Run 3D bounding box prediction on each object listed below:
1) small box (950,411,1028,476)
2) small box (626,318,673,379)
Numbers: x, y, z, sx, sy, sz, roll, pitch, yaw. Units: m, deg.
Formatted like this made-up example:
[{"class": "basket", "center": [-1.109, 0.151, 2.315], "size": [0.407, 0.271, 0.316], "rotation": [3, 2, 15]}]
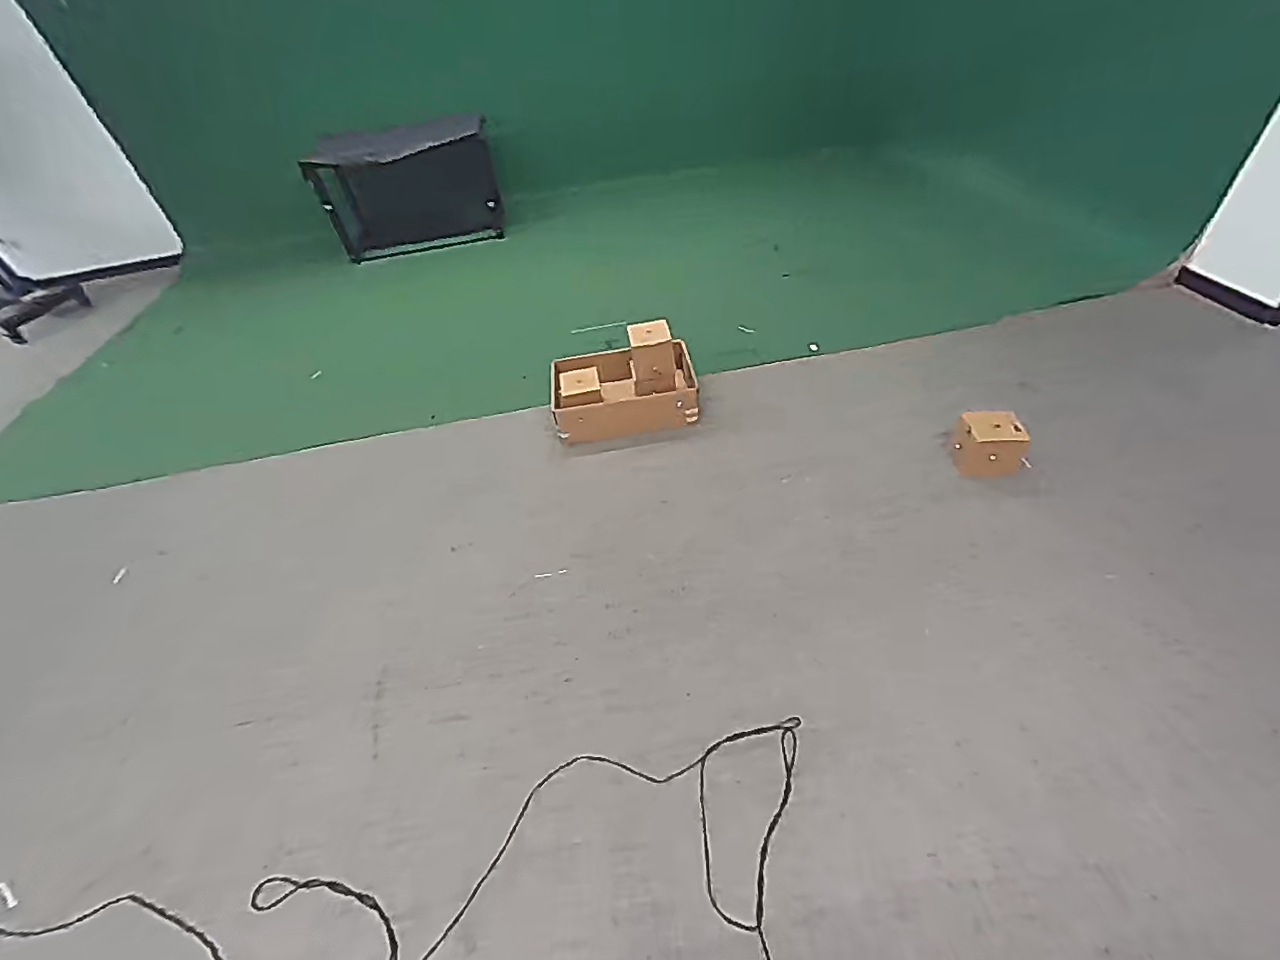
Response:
[{"class": "small box", "center": [1.237, -0.129, 1.938], "size": [0.179, 0.176, 0.168], "rotation": [-3, 45, 8]}, {"class": "small box", "center": [0.040, -0.542, 2.240], "size": [0.168, 0.176, 0.179], "rotation": [-11, 45, 0]}]
